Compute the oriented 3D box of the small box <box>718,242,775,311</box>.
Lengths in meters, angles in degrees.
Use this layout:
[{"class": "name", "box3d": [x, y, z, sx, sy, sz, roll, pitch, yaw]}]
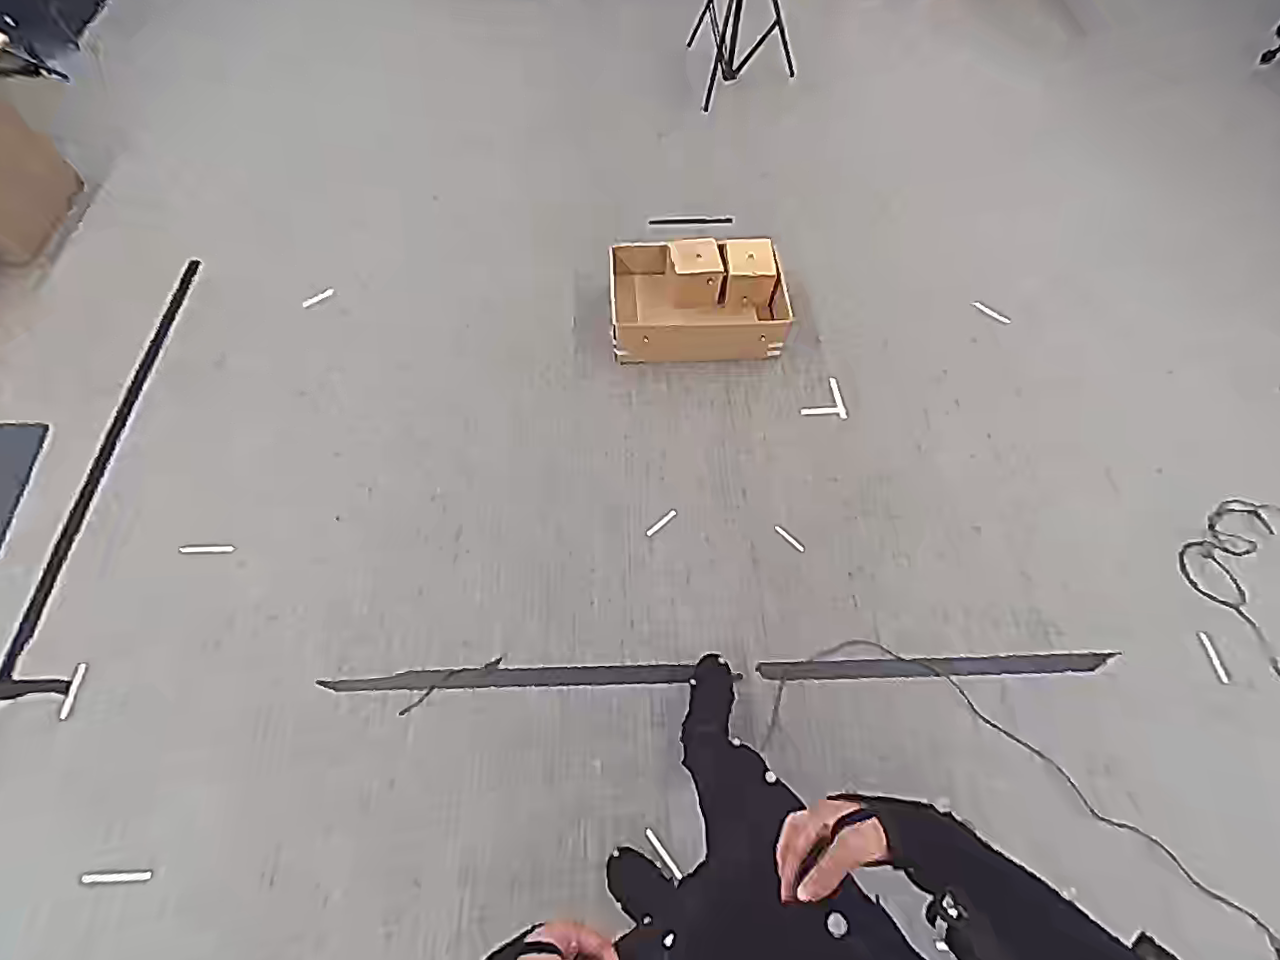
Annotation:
[{"class": "small box", "box3d": [0.387, -0.750, 1.997, 0.168, 0.176, 0.179, -3, 66, -1]}]
